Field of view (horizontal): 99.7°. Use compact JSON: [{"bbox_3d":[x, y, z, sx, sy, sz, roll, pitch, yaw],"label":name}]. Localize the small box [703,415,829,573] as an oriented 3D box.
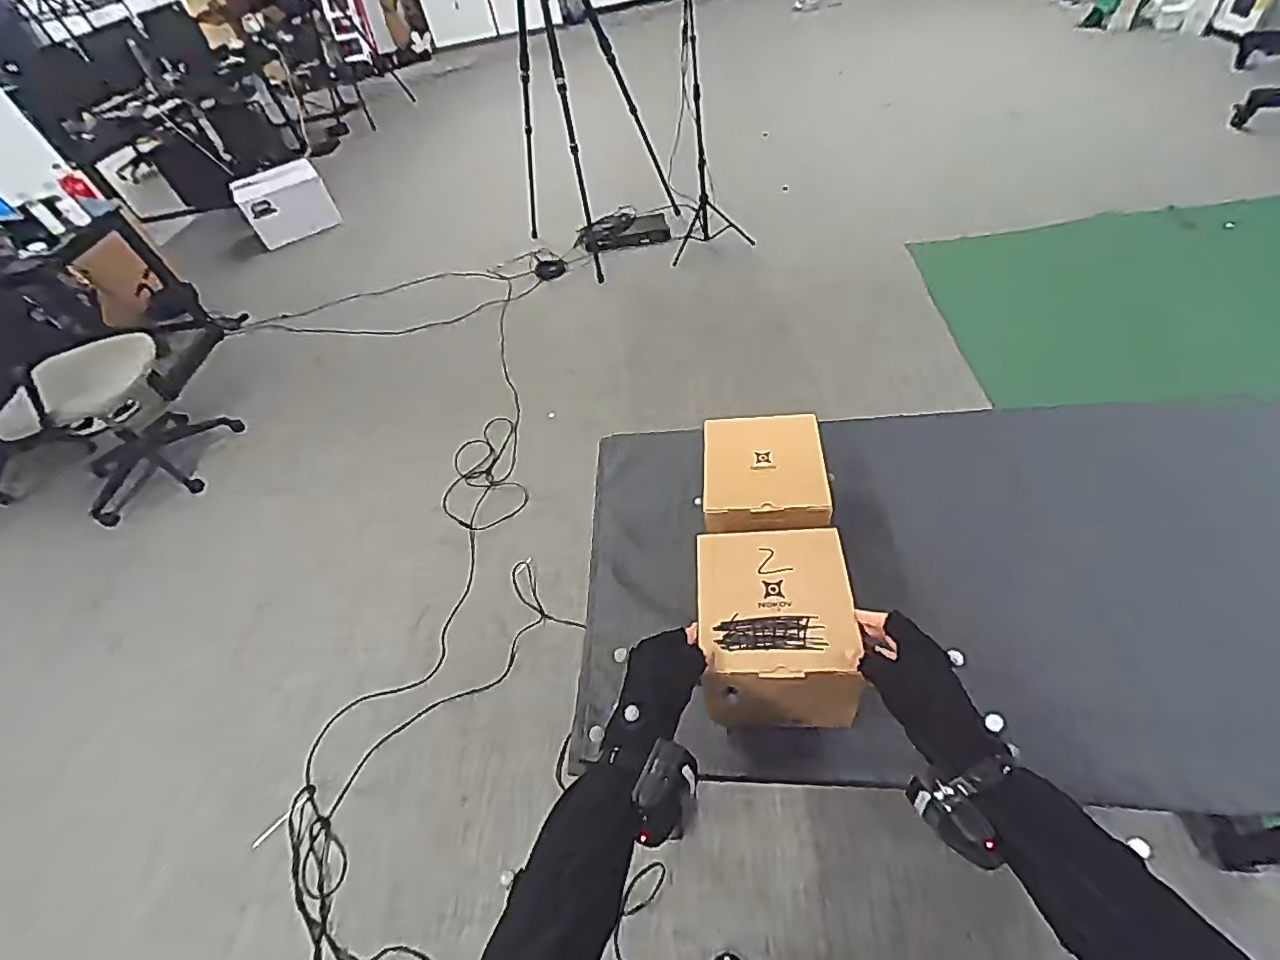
[{"bbox_3d":[0.181,0.023,0.820,0.168,0.176,0.179,-2,51,9],"label":"small box"}]
